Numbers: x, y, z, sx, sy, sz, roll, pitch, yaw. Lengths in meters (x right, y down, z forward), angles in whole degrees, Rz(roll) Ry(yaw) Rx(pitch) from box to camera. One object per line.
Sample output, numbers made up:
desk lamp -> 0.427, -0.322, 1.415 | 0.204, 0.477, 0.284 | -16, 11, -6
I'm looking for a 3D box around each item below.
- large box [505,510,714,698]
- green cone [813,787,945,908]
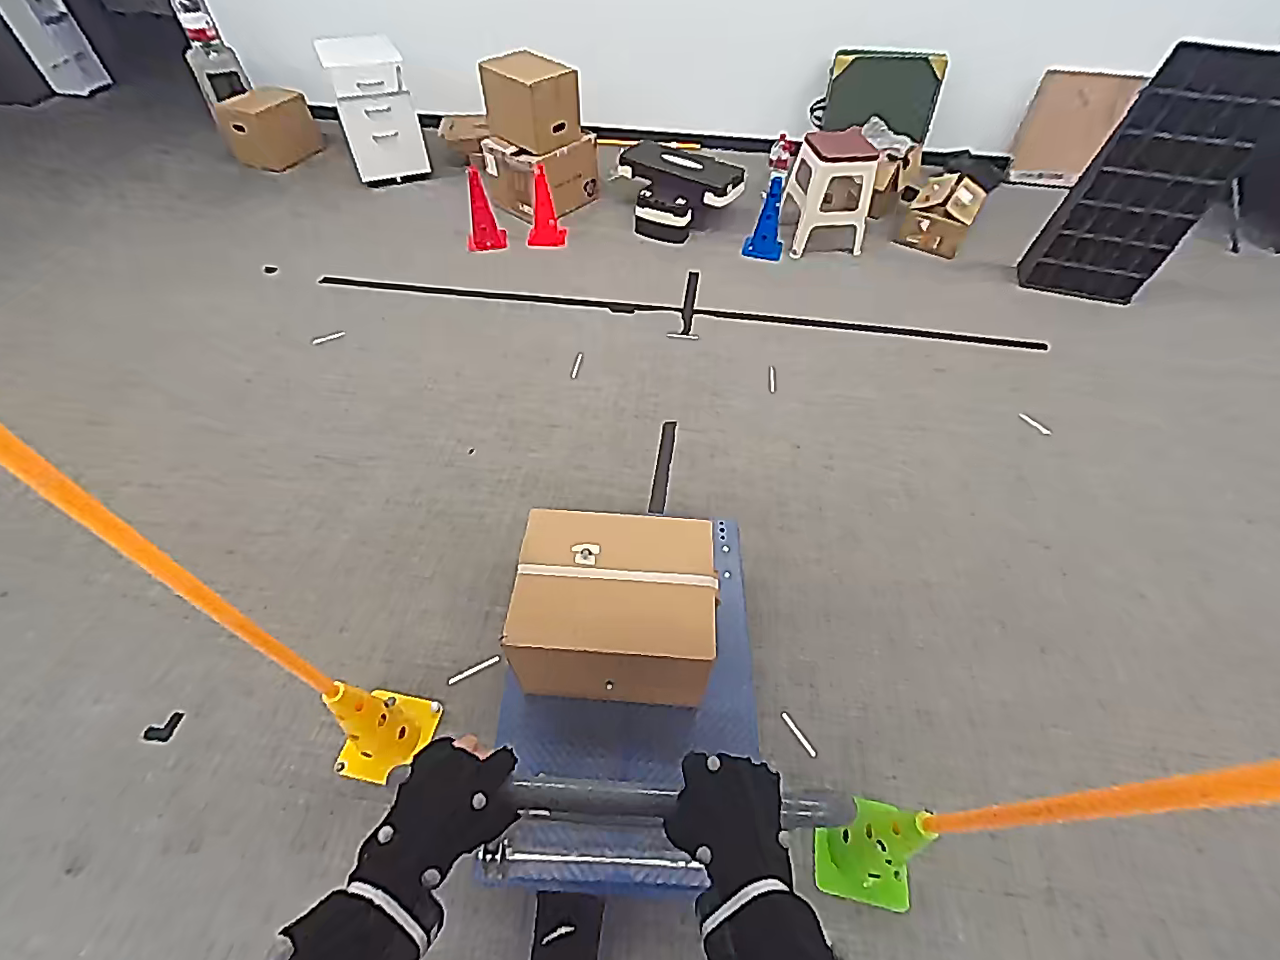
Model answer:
large box -> -0.049, 0.287, 1.223 | 0.408, 0.320, 0.320 | 4, 52, 2
green cone -> 0.499, 0.715, 1.083 | 0.202, 0.368, 0.200 | 11, 52, 5
